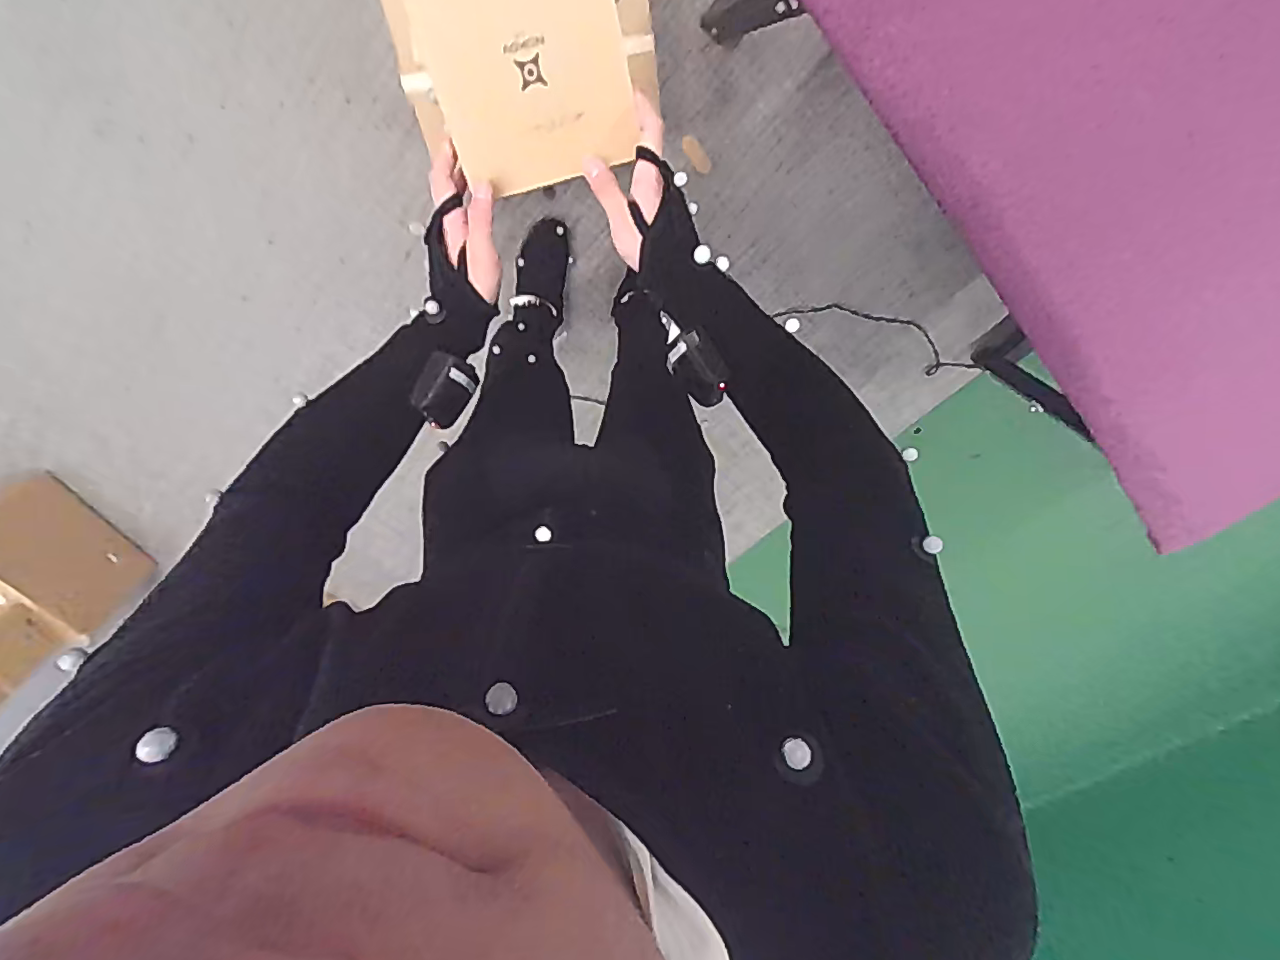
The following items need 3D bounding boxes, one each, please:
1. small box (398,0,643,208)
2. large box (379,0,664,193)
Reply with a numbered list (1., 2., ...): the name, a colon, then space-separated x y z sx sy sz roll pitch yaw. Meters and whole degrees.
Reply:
1. small box: -0.104 -0.374 0.510 0.168 0.176 0.179 -15 121 1
2. large box: -0.190 -0.745 0.979 0.408 0.320 0.320 -10 127 0
